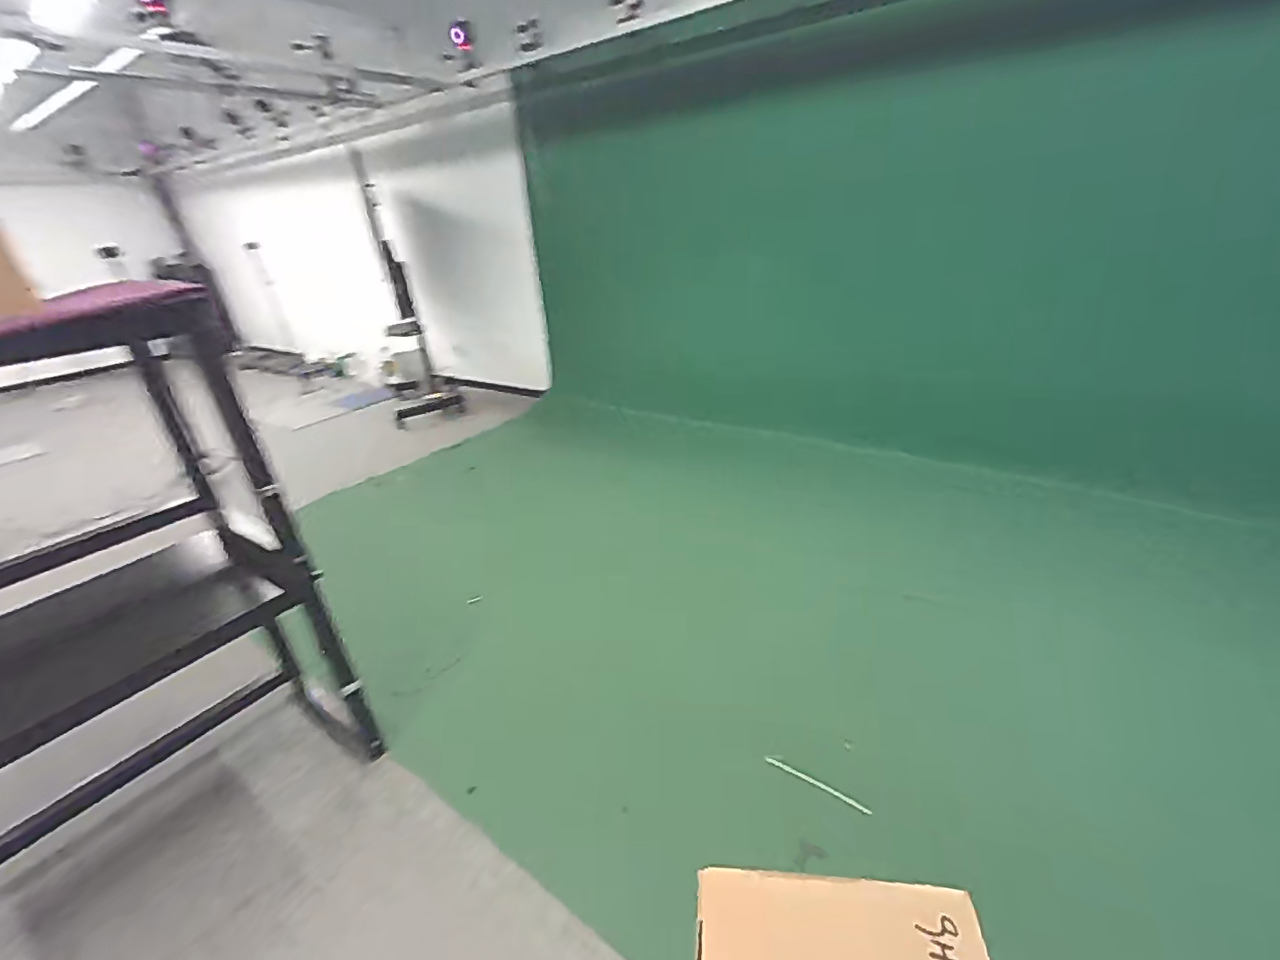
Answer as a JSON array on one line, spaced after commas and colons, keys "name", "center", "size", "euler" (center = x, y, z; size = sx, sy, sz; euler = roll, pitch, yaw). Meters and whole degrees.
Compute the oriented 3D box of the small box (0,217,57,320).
[{"name": "small box", "center": [-1.243, -0.376, 0.992], "size": [0.168, 0.176, 0.179], "euler": [13, 32, 35]}]
